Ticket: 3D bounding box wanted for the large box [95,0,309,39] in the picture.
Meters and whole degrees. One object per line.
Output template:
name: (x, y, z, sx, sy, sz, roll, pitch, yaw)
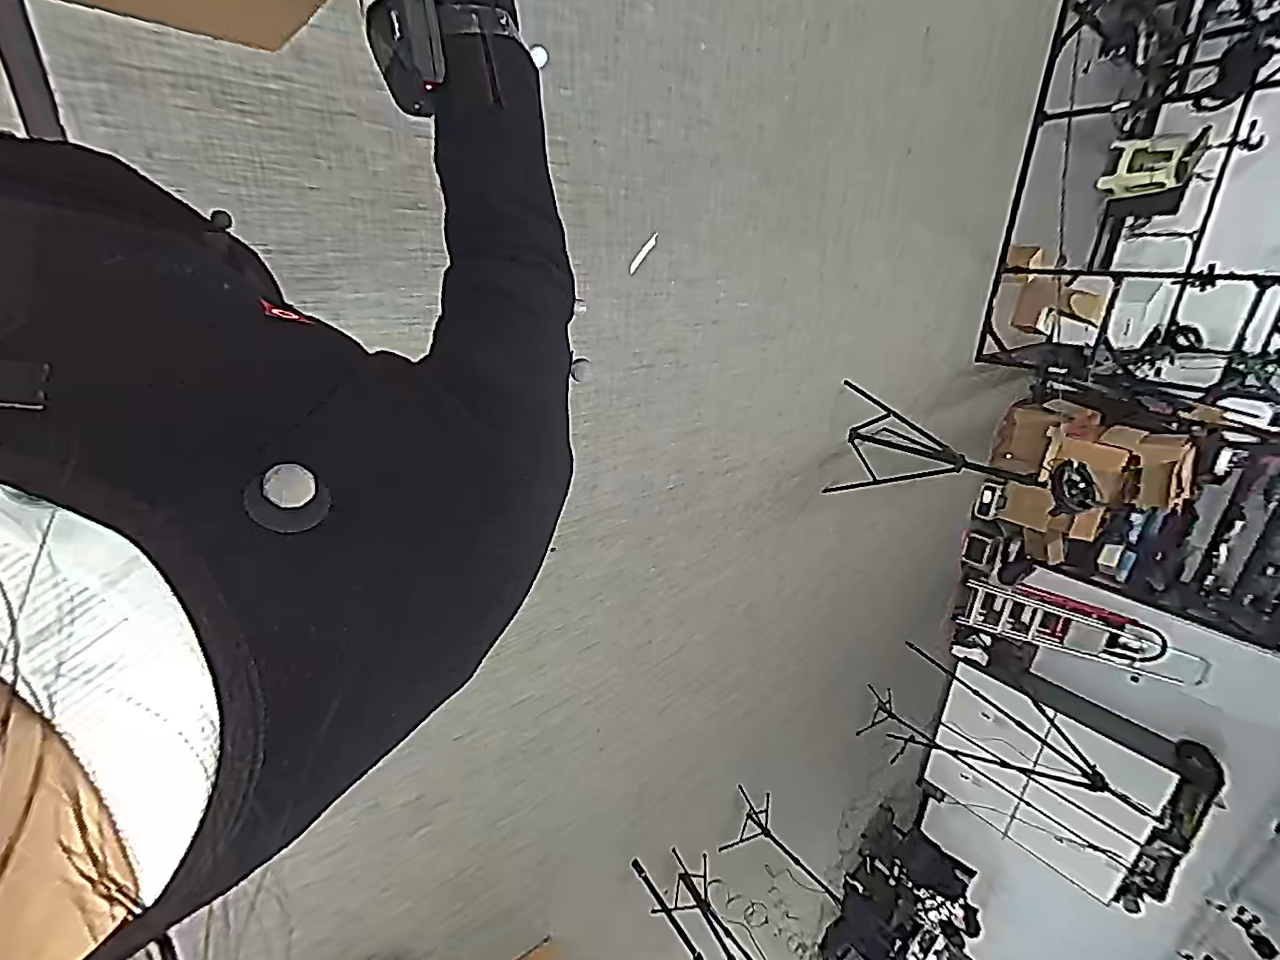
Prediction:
large box: (-0.389, -0.451, 0.226, 0.408, 0.320, 0.320, -15, 123, -38)
